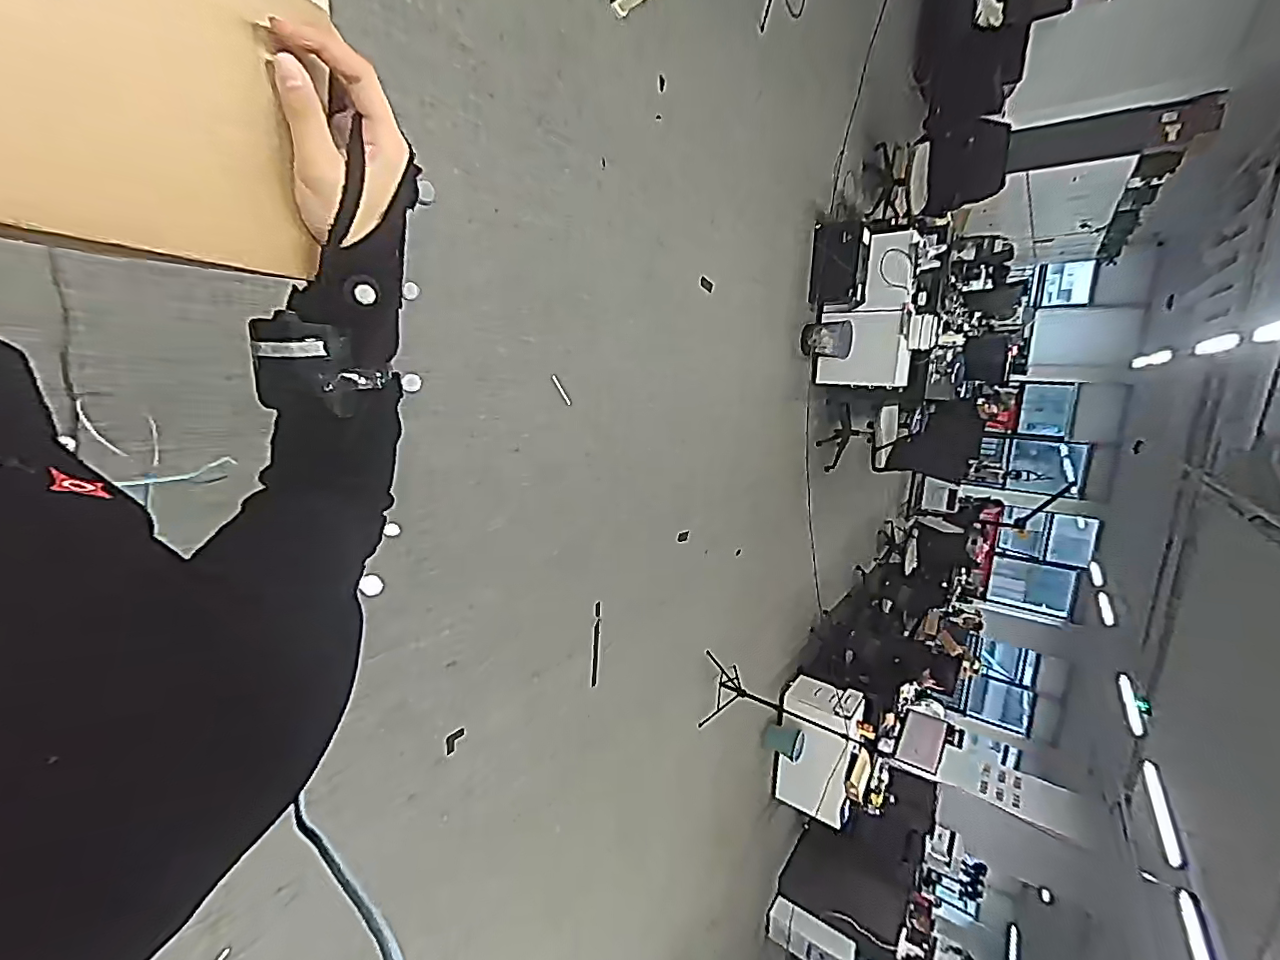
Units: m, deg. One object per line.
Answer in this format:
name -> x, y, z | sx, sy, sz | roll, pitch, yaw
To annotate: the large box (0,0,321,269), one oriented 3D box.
large box -> -0.416, -0.291, 0.218 | 0.408, 0.320, 0.320 | -13, 116, -58
